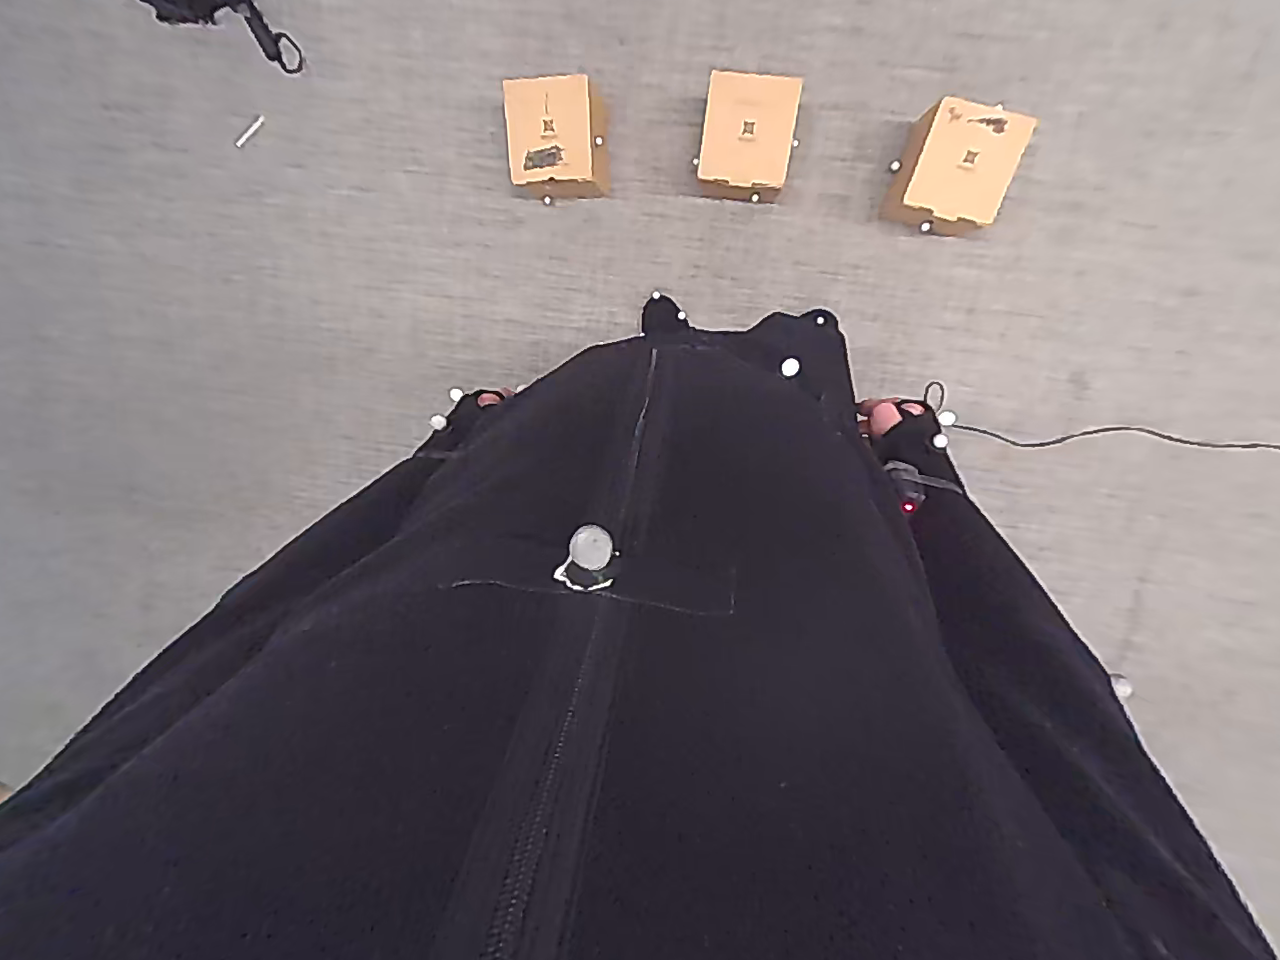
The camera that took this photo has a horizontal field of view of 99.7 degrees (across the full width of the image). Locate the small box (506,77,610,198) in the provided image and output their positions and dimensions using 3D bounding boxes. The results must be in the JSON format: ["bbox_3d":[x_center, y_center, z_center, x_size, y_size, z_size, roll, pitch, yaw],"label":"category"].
[{"bbox_3d":[-0.158,-0.684,1.102,0.168,0.176,0.179,1,107,8],"label":"small box"}]

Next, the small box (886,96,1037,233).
[{"bbox_3d":[0.591,-0.584,1.025,0.168,0.176,0.179,17,111,3],"label":"small box"}]

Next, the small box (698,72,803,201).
[{"bbox_3d":[0.209,-0.659,1.059,0.168,0.176,0.179,7,108,5],"label":"small box"}]
